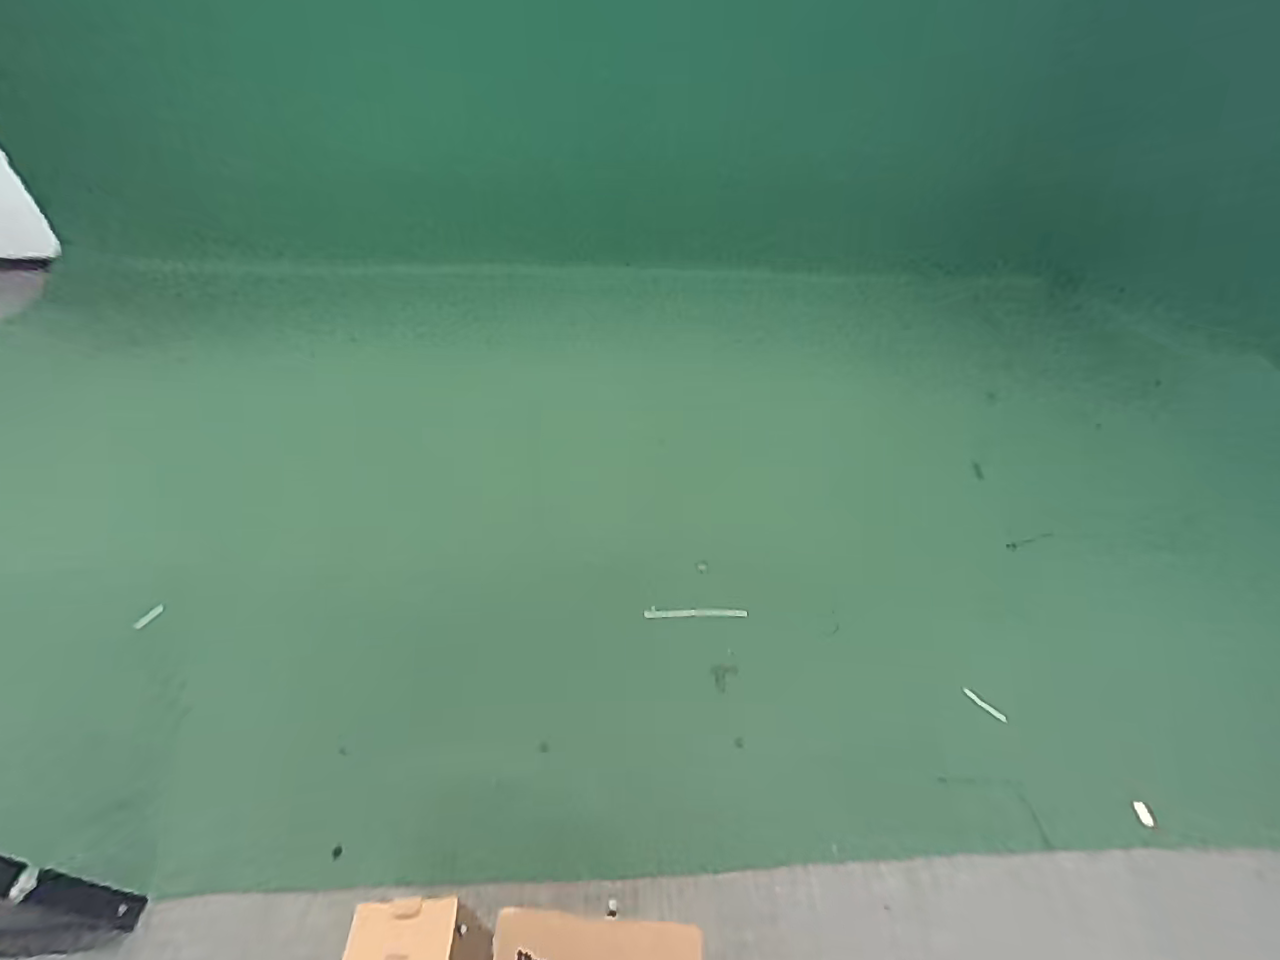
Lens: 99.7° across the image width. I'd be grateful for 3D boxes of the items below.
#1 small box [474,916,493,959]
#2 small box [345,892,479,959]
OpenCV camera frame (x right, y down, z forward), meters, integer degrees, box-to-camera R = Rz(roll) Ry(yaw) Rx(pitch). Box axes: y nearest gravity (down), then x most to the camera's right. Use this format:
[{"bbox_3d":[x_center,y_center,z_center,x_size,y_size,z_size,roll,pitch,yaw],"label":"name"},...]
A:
[{"bbox_3d":[-0.370,0.916,0.982,0.168,0.176,0.179,-2,44,-4],"label":"small box"},{"bbox_3d":[-0.368,0.794,0.874,0.168,0.176,0.179,-2,43,-3],"label":"small box"}]
